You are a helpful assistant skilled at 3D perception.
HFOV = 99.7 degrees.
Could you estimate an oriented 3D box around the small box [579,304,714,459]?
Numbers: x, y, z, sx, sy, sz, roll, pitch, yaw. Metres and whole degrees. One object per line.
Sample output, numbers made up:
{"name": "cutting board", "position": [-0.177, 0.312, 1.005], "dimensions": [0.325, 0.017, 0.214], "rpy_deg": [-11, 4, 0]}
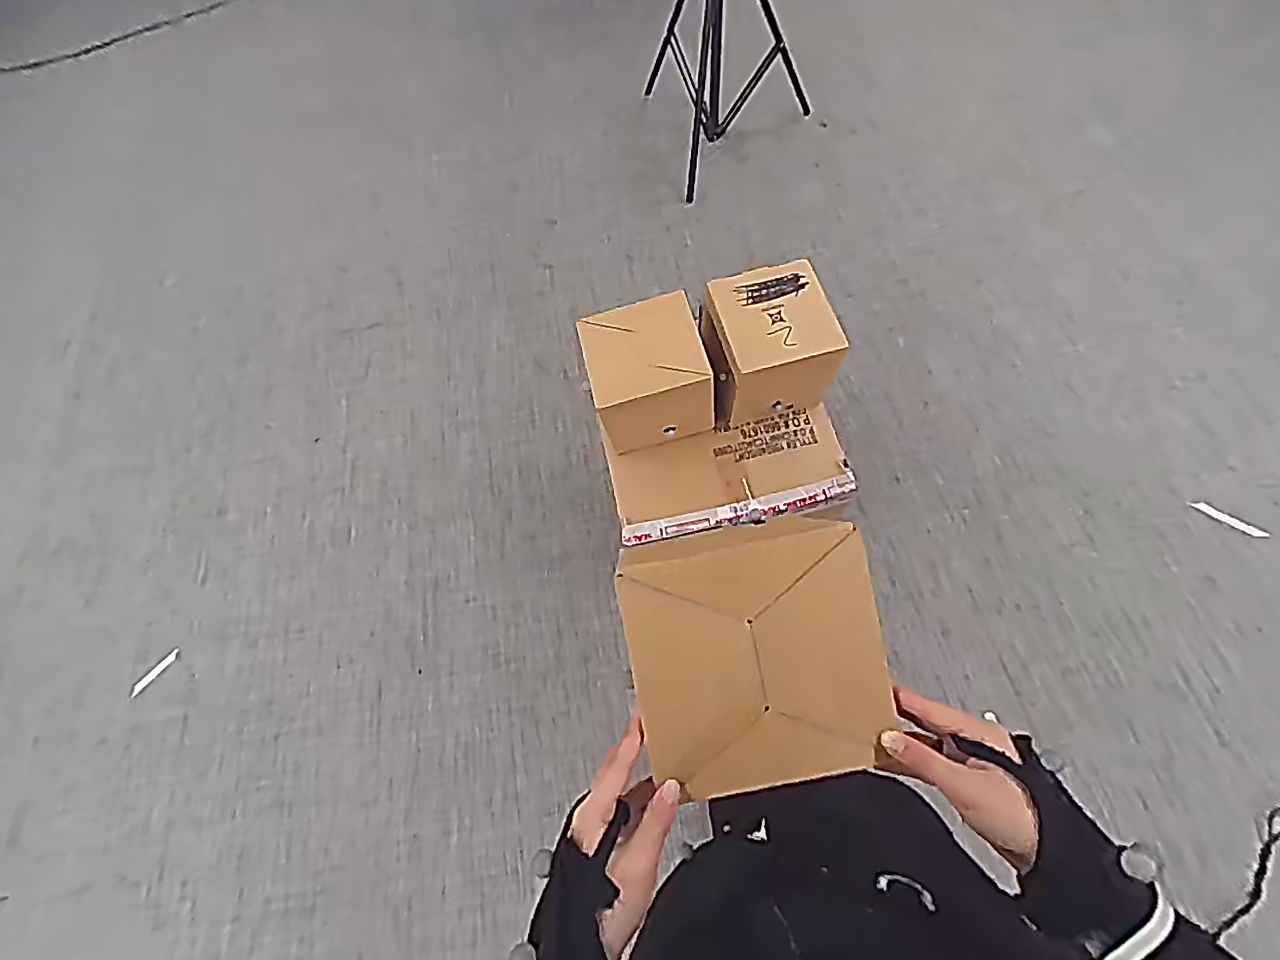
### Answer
{"name": "small box", "position": [0.015, -0.159, 0.882], "dimensions": [0.179, 0.176, 0.168], "rpy_deg": [-15, 67, 2]}

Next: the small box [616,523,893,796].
{"name": "small box", "position": [0.079, 0.134, 0.458], "dimensions": [0.179, 0.176, 0.168], "rpy_deg": [-11, 88, 0]}
